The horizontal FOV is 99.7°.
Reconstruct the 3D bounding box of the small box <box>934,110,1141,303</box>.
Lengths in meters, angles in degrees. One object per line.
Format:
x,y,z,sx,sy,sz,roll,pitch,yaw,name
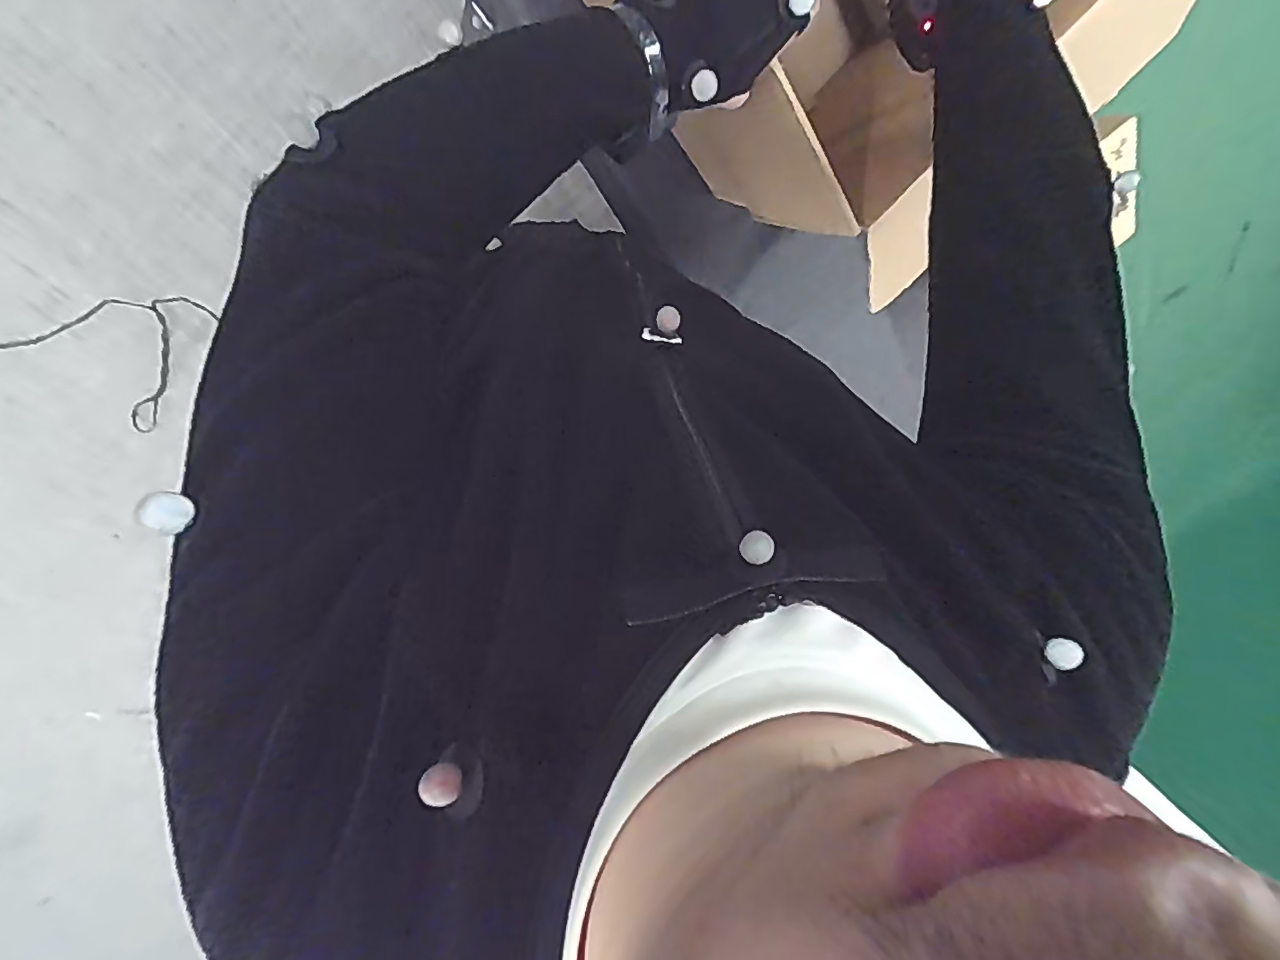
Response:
0.549,-0.388,0.769,0.179,0.176,0.168,-36,127,6,small box
